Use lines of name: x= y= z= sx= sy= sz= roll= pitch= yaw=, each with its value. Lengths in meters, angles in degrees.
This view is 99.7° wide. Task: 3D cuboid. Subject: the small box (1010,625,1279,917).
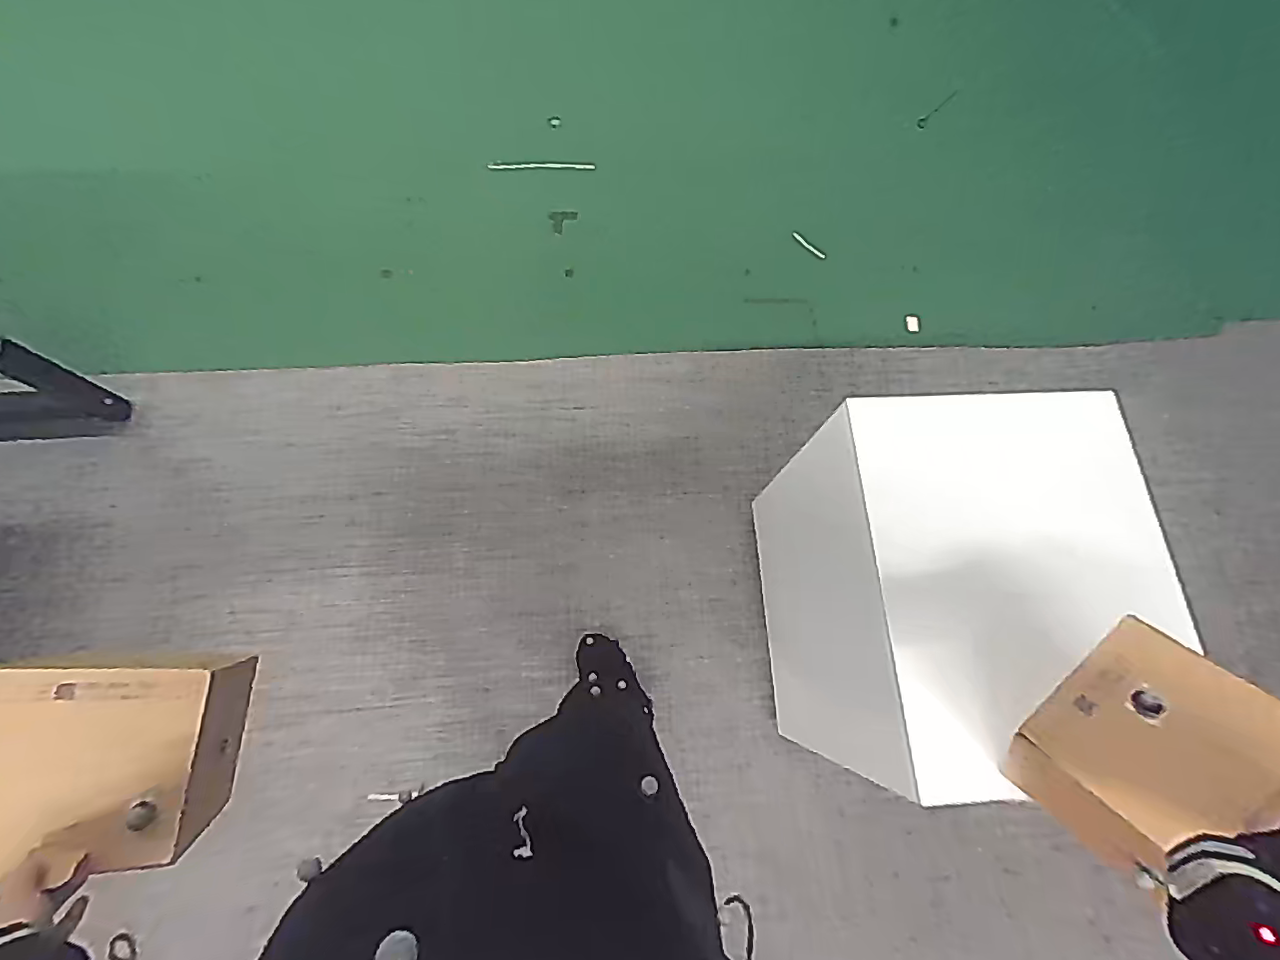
small box: x=0.493 y=0.272 z=0.520 sx=0.168 sy=0.179 sz=0.176 roll=-40 pitch=44 yaw=-7
